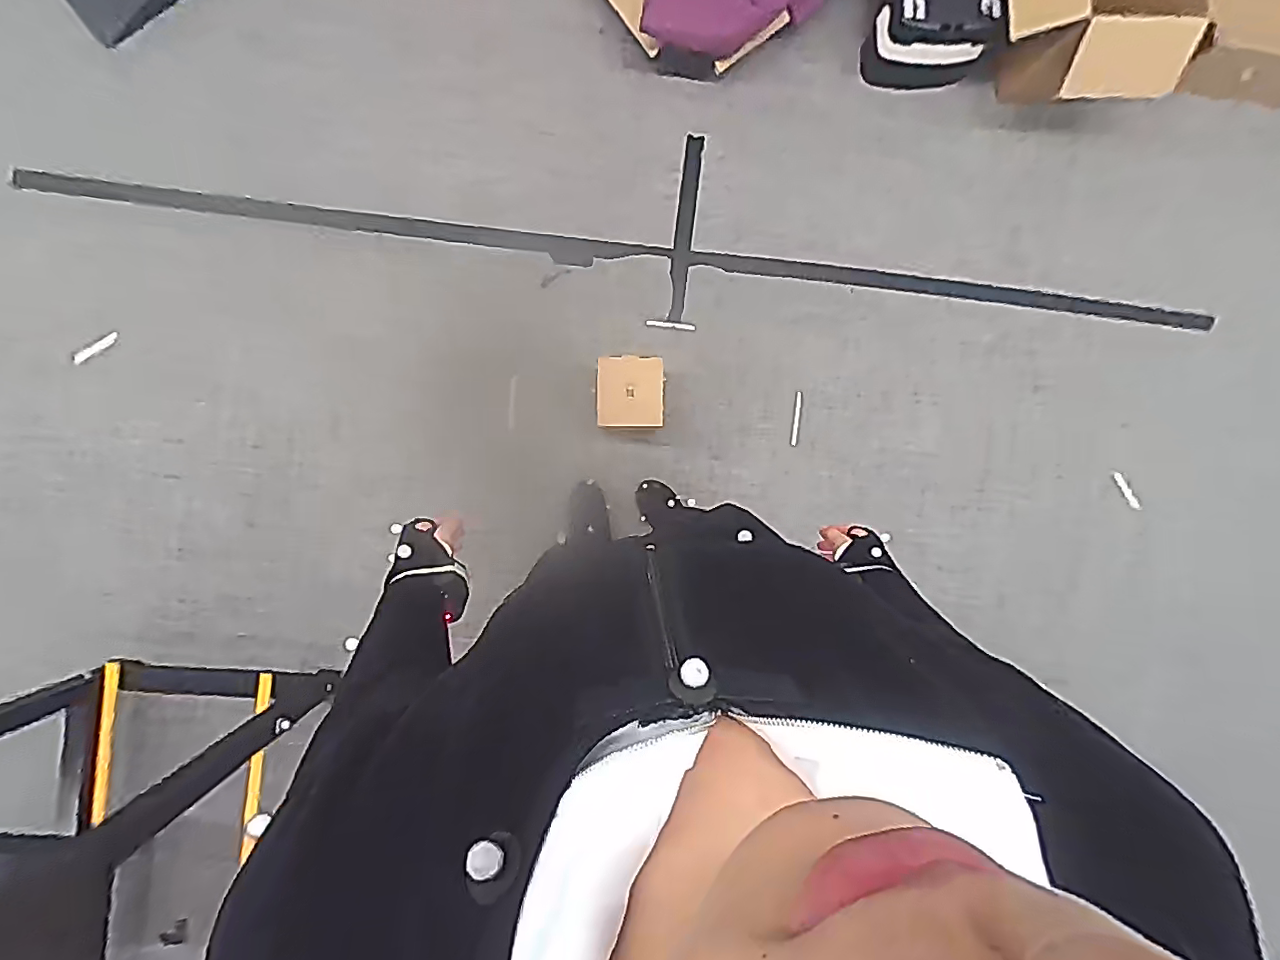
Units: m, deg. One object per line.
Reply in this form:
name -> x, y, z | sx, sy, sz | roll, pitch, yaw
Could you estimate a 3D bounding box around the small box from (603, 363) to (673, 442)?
small box -> -0.009, -0.187, 1.343 | 0.168, 0.176, 0.179 | -1, 92, -3
